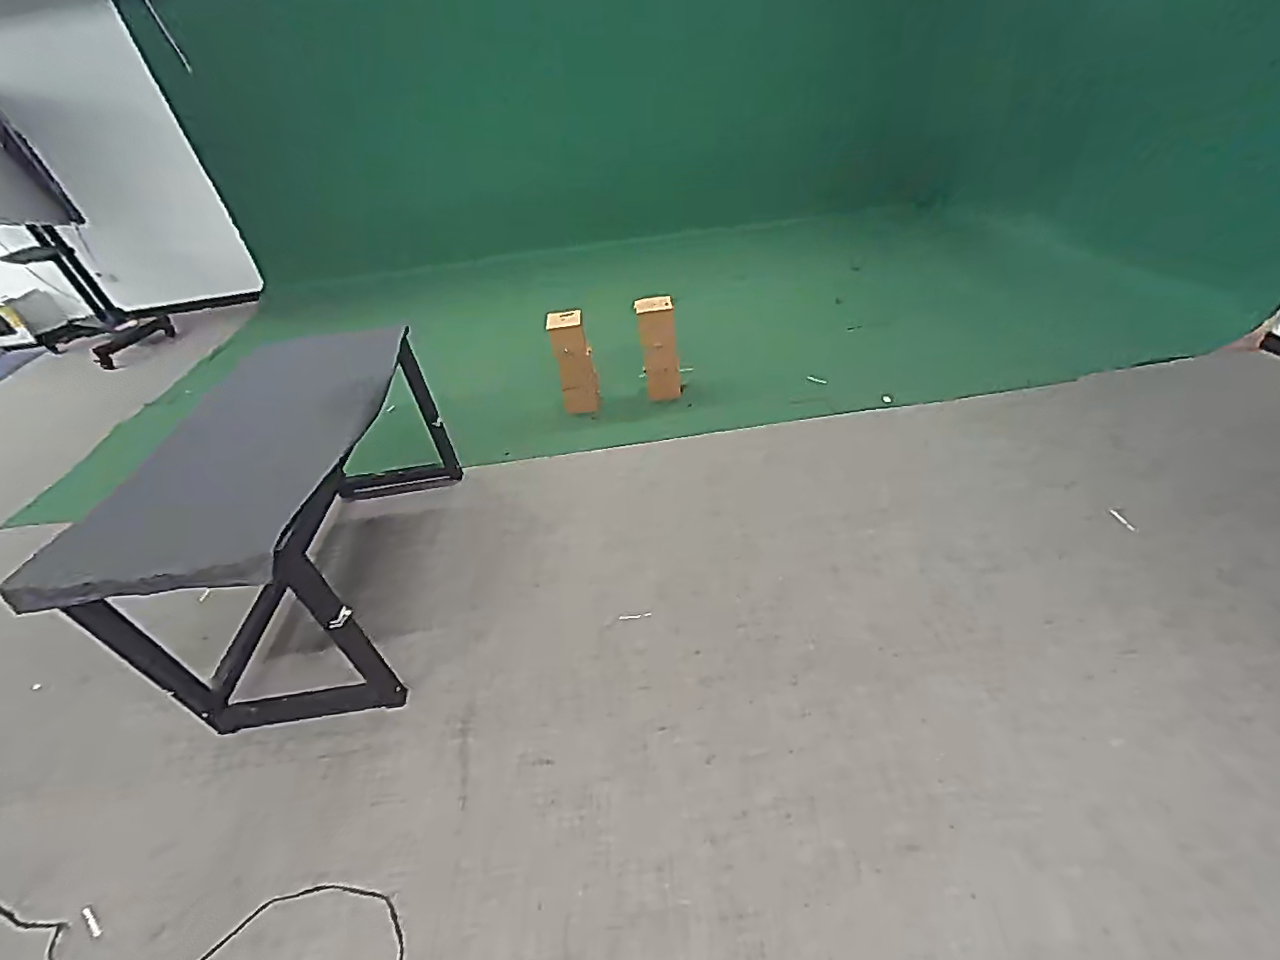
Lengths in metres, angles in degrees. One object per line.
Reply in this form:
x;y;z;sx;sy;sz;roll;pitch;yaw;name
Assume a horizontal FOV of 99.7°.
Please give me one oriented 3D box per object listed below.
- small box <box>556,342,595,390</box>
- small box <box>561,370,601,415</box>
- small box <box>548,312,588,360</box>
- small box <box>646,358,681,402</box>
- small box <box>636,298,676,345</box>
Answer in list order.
-0.329;-0.582;2.770;0.179;0.176;0.168;-10;39;-1;small box
-0.310;-0.465;2.881;0.179;0.176;0.168;-5;39;5;small box
-0.354;-0.710;2.669;0.168;0.176;0.179;-8;40;1;small box
0.127;-0.532;2.888;0.179;0.176;0.168;-6;40;3;small box
0.079;-0.782;2.681;0.179;0.176;0.168;-7;39;3;small box
